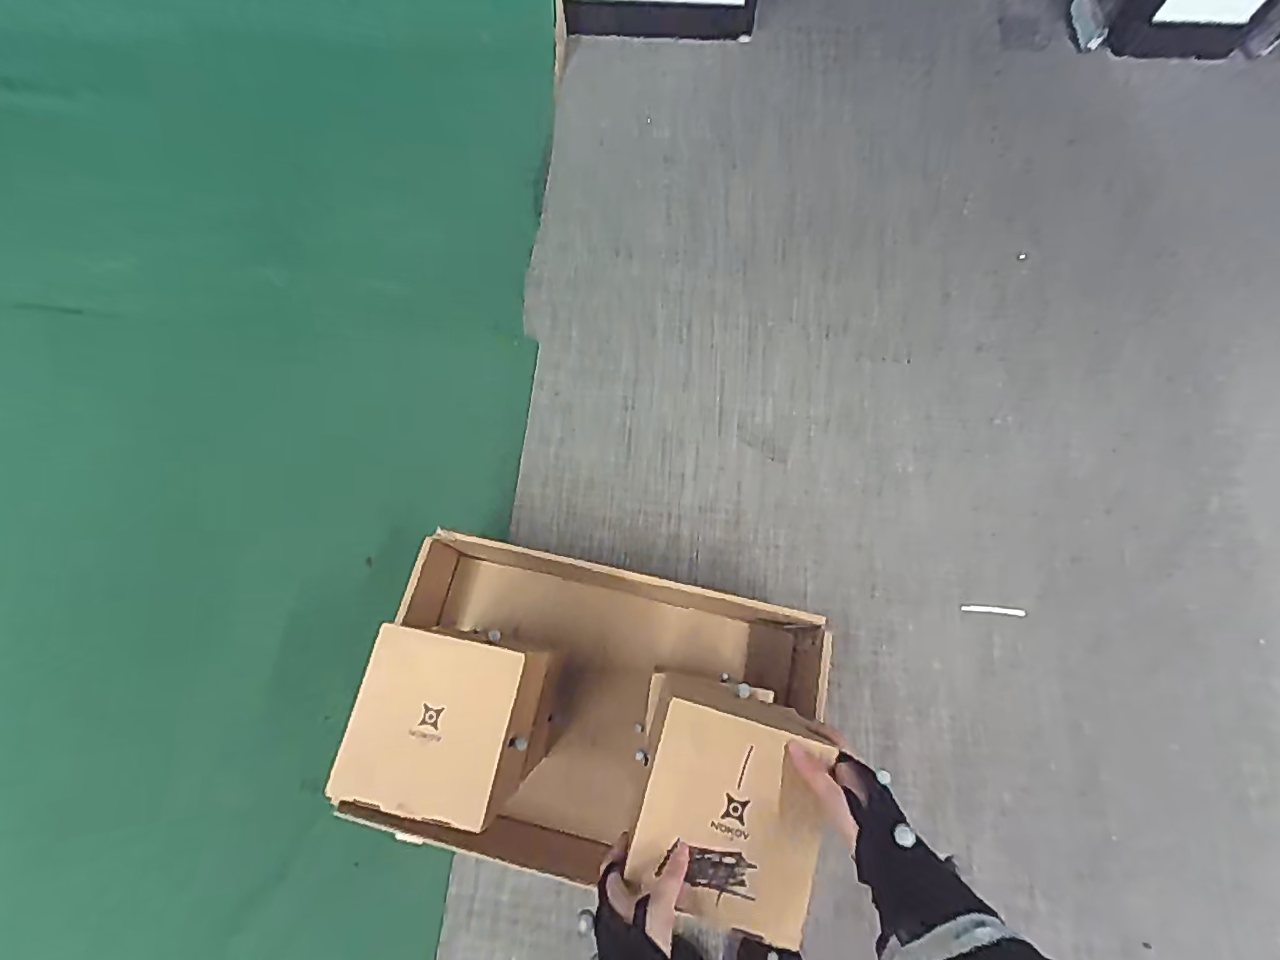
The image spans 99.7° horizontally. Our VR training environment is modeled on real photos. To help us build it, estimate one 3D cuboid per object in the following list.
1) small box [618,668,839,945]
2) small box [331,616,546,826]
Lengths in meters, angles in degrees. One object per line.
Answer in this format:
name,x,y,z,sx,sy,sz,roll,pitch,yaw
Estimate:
small box,0.084,0.320,0.573,0.168,0.176,0.179,17,79,3
small box,-0.218,0.269,0.643,0.168,0.176,0.179,12,74,3
